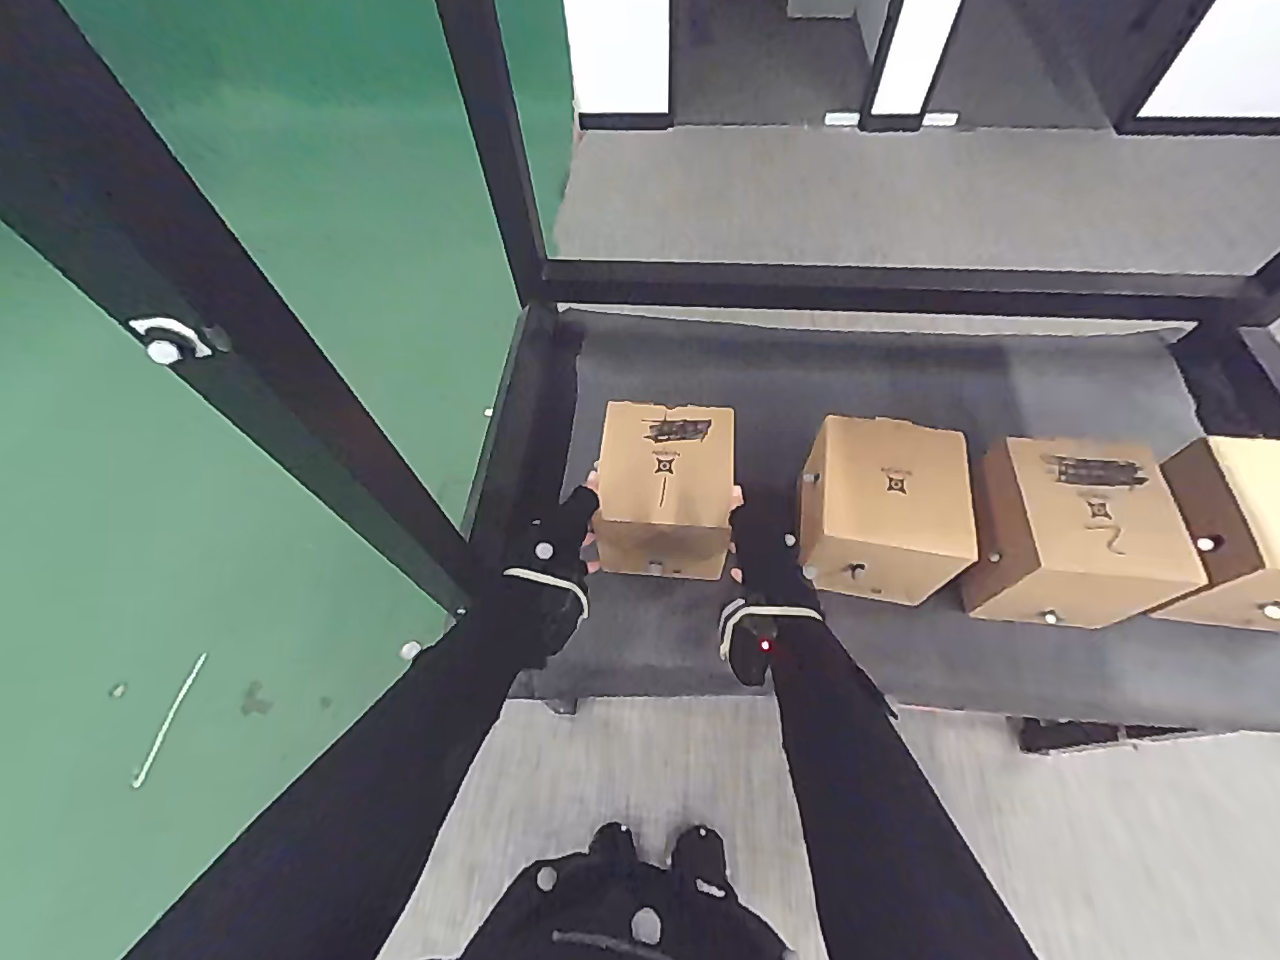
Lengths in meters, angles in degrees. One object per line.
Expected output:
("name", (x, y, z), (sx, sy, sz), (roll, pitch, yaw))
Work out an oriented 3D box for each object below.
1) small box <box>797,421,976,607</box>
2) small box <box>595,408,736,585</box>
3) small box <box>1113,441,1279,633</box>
("small box", (0.306, 0.050, 0.705), (0.168, 0.176, 0.179), (9, 59, 8))
("small box", (0.038, 0.025, 0.729), (0.168, 0.176, 0.179), (3, 59, 5))
("small box", (0.745, 0.076, 0.664), (0.168, 0.176, 0.179), (6, 58, 6))
